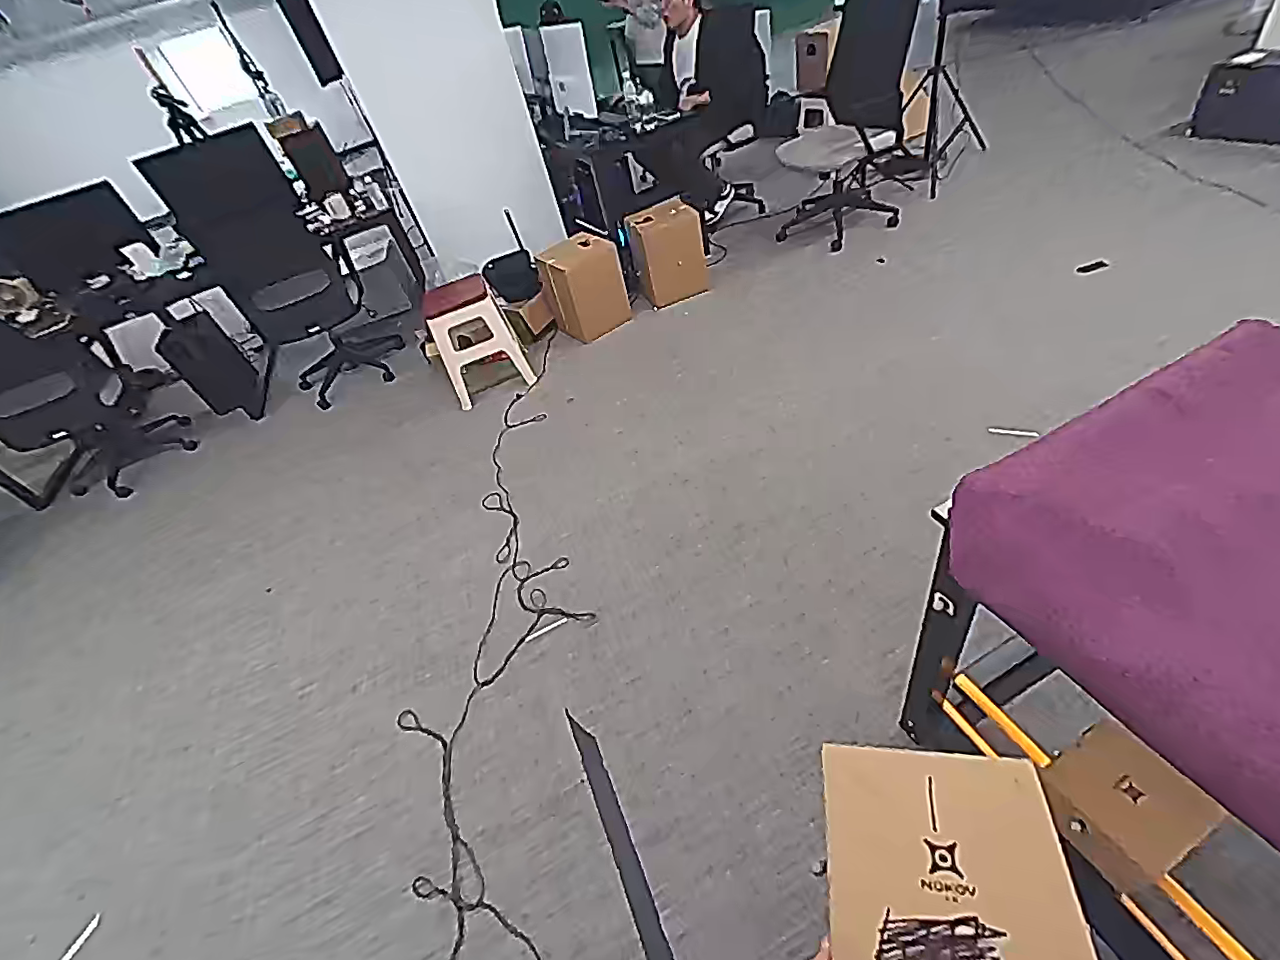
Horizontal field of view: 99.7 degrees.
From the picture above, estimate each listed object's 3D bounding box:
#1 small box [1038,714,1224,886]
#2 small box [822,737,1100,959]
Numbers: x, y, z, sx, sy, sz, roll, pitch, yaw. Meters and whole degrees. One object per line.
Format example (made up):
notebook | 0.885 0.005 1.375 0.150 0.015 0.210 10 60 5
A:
small box | 0.782 0.537 0.902 0.168 0.176 0.179 -31 43 -11
small box | 0.243 0.344 0.448 0.168 0.176 0.179 -3 40 17
